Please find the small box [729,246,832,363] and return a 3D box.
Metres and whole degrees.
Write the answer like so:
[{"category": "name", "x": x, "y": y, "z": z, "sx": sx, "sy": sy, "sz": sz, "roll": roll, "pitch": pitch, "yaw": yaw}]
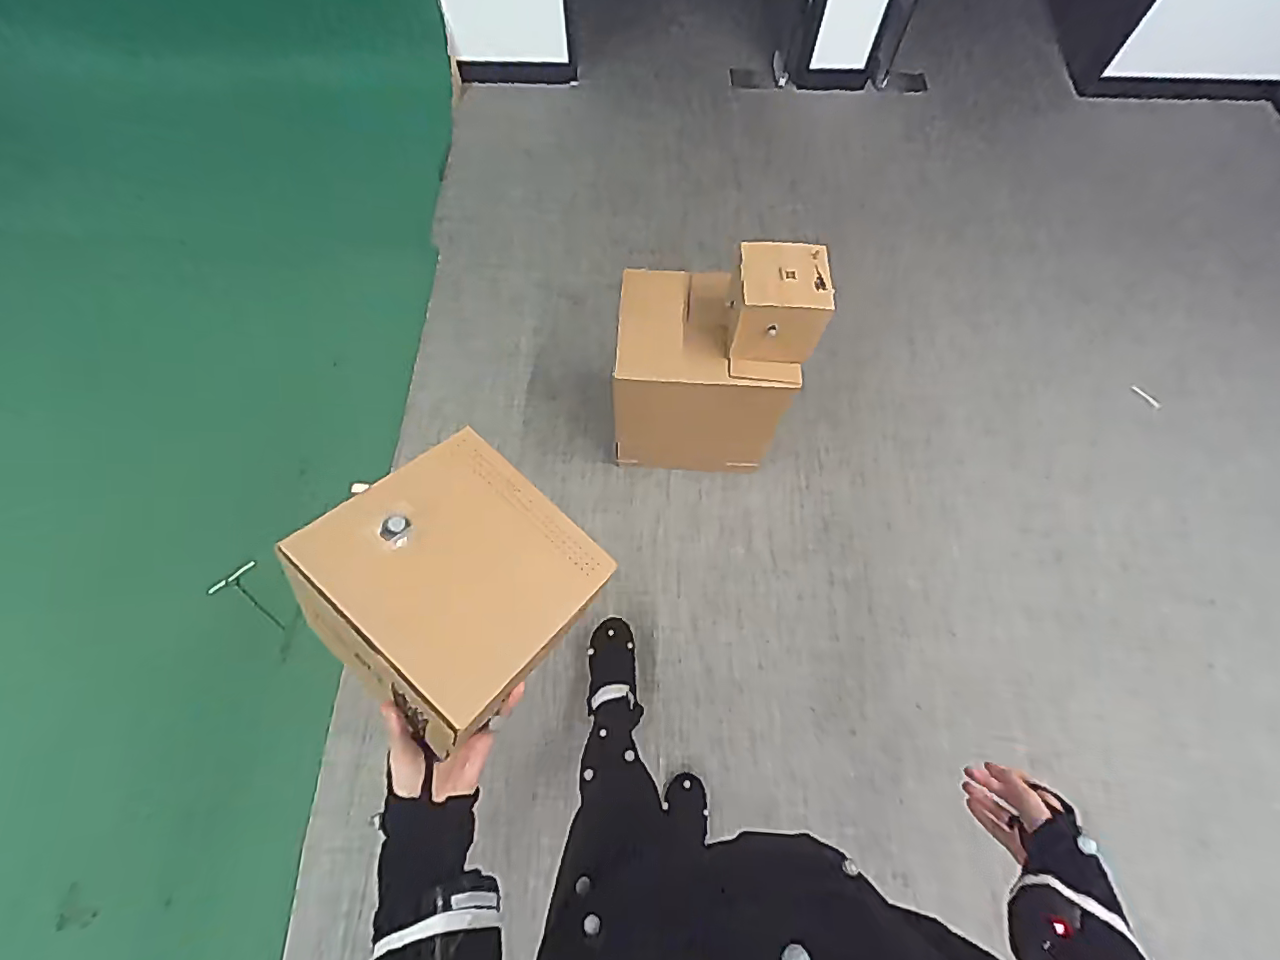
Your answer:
[{"category": "small box", "x": 0.279, "y": -0.358, "z": 1.122, "sx": 0.179, "sy": 0.176, "sz": 0.168, "roll": 2, "pitch": 67, "yaw": 1}]
